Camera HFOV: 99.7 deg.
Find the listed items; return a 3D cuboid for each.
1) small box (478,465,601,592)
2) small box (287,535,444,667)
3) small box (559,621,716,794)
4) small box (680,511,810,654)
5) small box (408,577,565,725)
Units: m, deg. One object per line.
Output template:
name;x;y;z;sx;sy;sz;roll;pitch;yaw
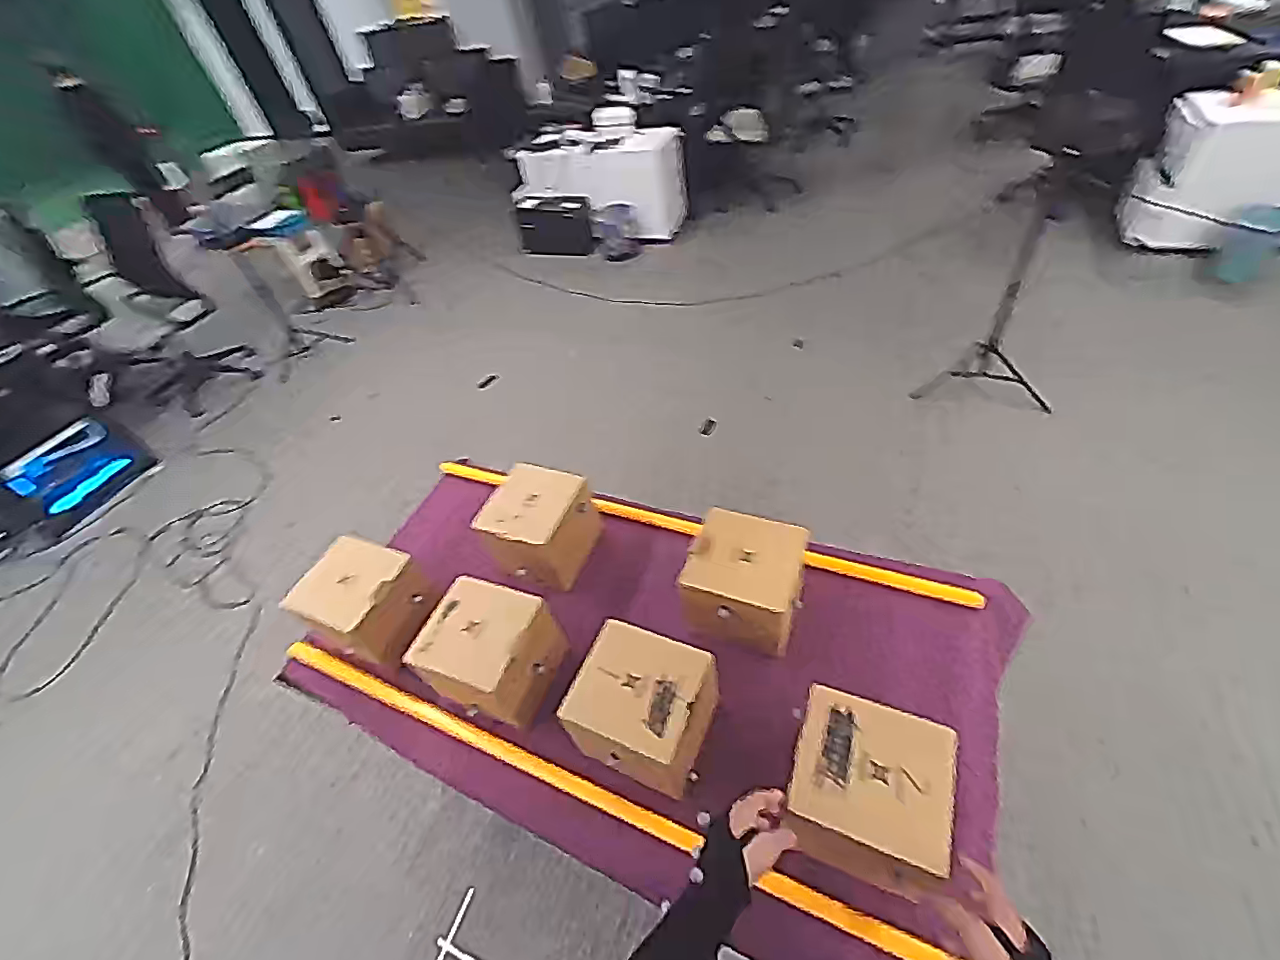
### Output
small box;-0.194;0.099;1.111;0.168;0.176;0.179;12;53;23
small box;-0.517;0.238;1.048;0.179;0.176;0.168;13;51;20
small box;0.008;0.351;0.830;0.179;0.176;0.168;13;50;25
small box;0.188;0.183;0.950;0.179;0.176;0.168;12;52;23
small box;-0.251;0.299;0.936;0.179;0.176;0.168;12;51;21
